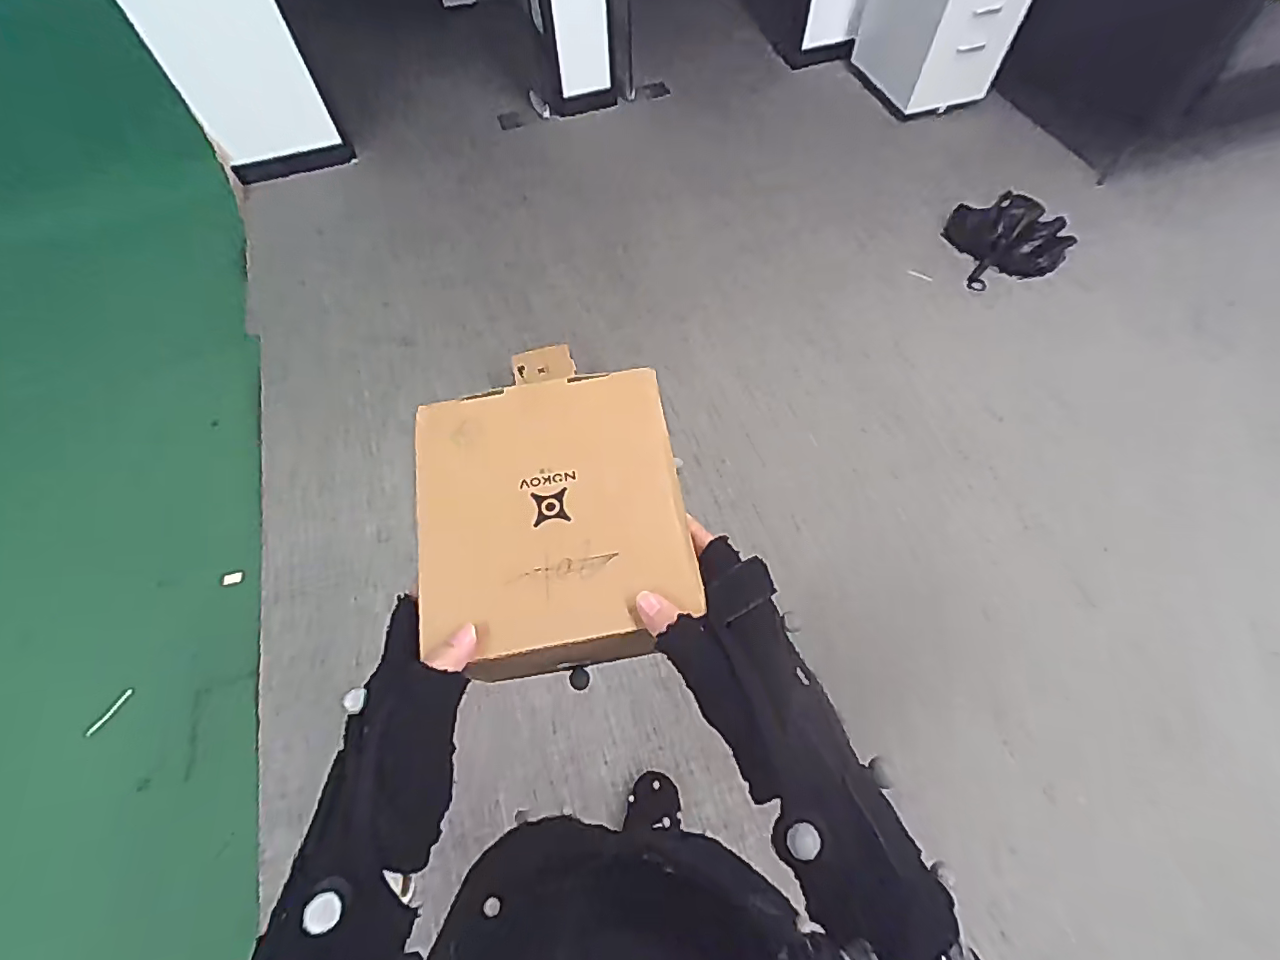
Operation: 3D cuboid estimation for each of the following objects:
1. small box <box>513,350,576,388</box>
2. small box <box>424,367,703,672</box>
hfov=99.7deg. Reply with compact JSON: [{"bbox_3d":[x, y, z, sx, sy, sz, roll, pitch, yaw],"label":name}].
[{"bbox_3d":[-0.278,-0.267,1.653,0.179,0.176,0.168,-13,61,-6],"label":"small box"},{"bbox_3d":[-0.055,0.041,0.422,0.168,0.176,0.179,-10,68,-2],"label":"small box"}]
